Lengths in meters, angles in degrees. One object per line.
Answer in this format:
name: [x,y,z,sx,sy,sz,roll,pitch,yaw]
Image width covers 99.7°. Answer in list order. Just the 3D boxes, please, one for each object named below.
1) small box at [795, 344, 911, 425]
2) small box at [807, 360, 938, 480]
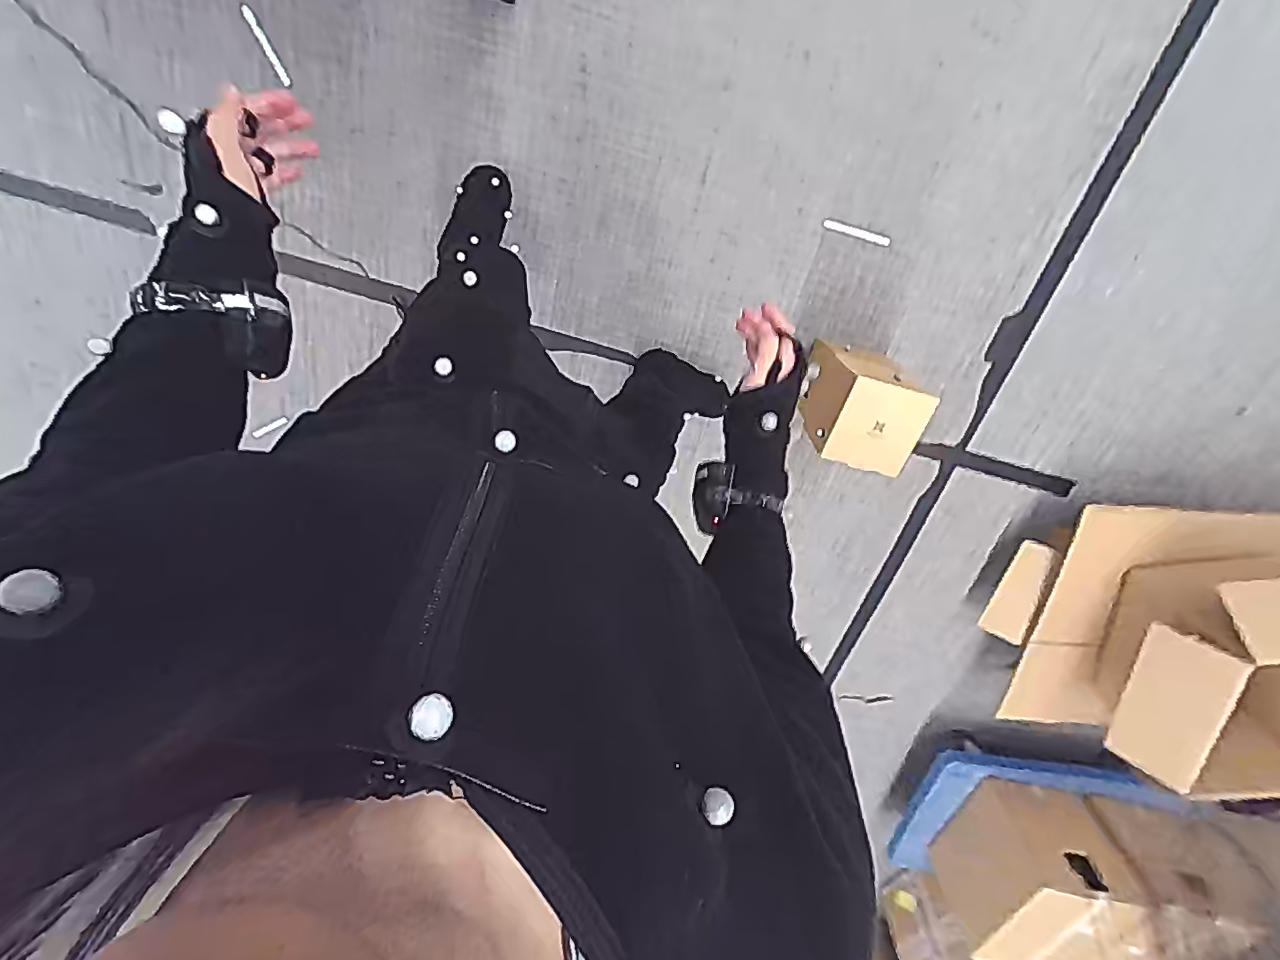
small box: [0.479,-0.205,1.252,0.179,0.176,0.168,14,118,-5]
small box: [0.461,-0.130,1.109,0.168,0.176,0.179,15,118,-4]
